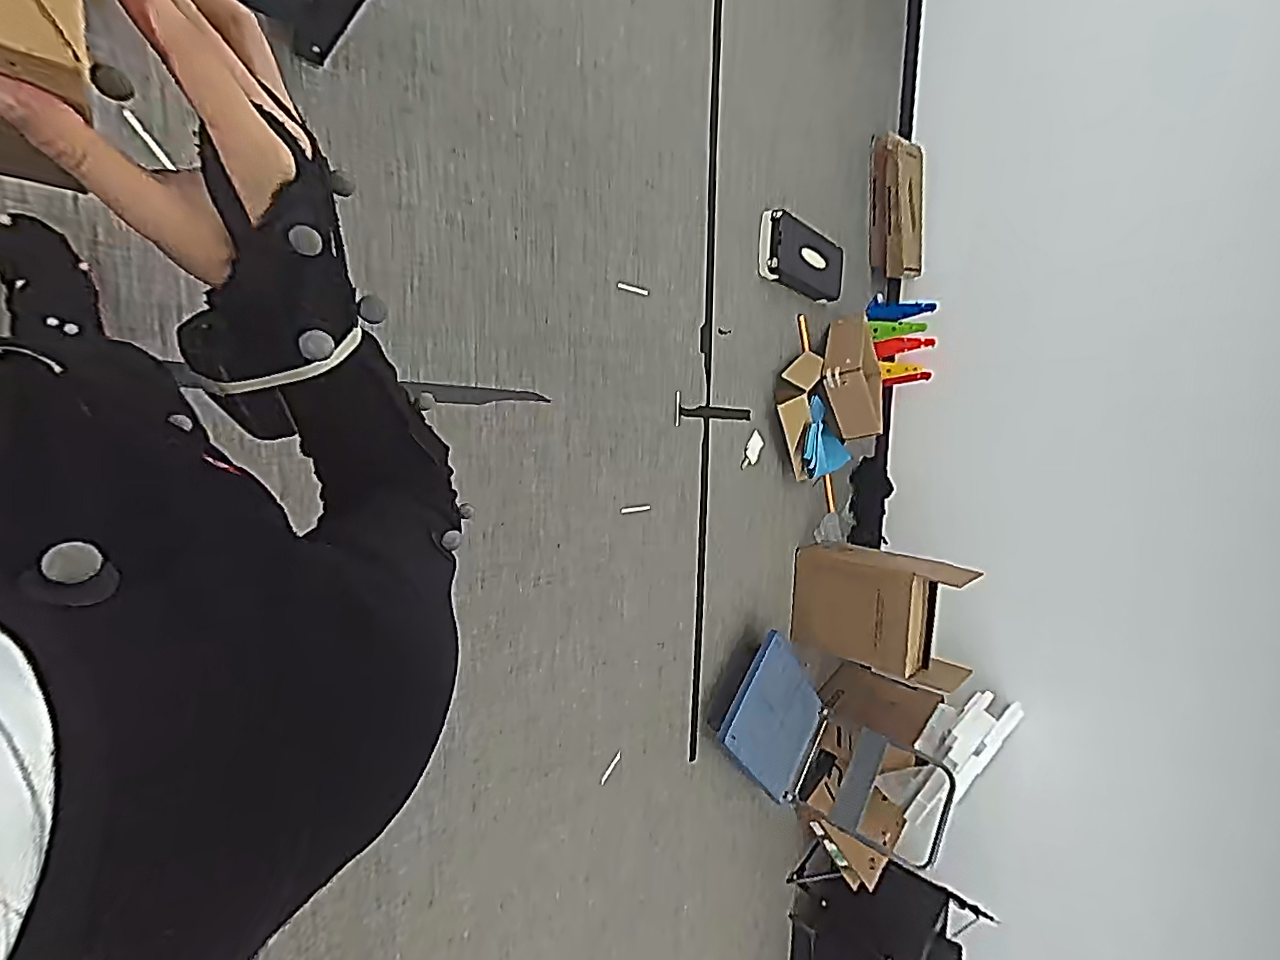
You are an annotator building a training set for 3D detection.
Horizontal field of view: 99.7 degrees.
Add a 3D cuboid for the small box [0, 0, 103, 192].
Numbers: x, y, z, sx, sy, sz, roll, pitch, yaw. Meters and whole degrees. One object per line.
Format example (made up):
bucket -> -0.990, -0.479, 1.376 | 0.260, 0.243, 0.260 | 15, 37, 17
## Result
small box -> -0.282, -0.220, 0.161 | 0.168, 0.176, 0.179 | -4, 102, -46
